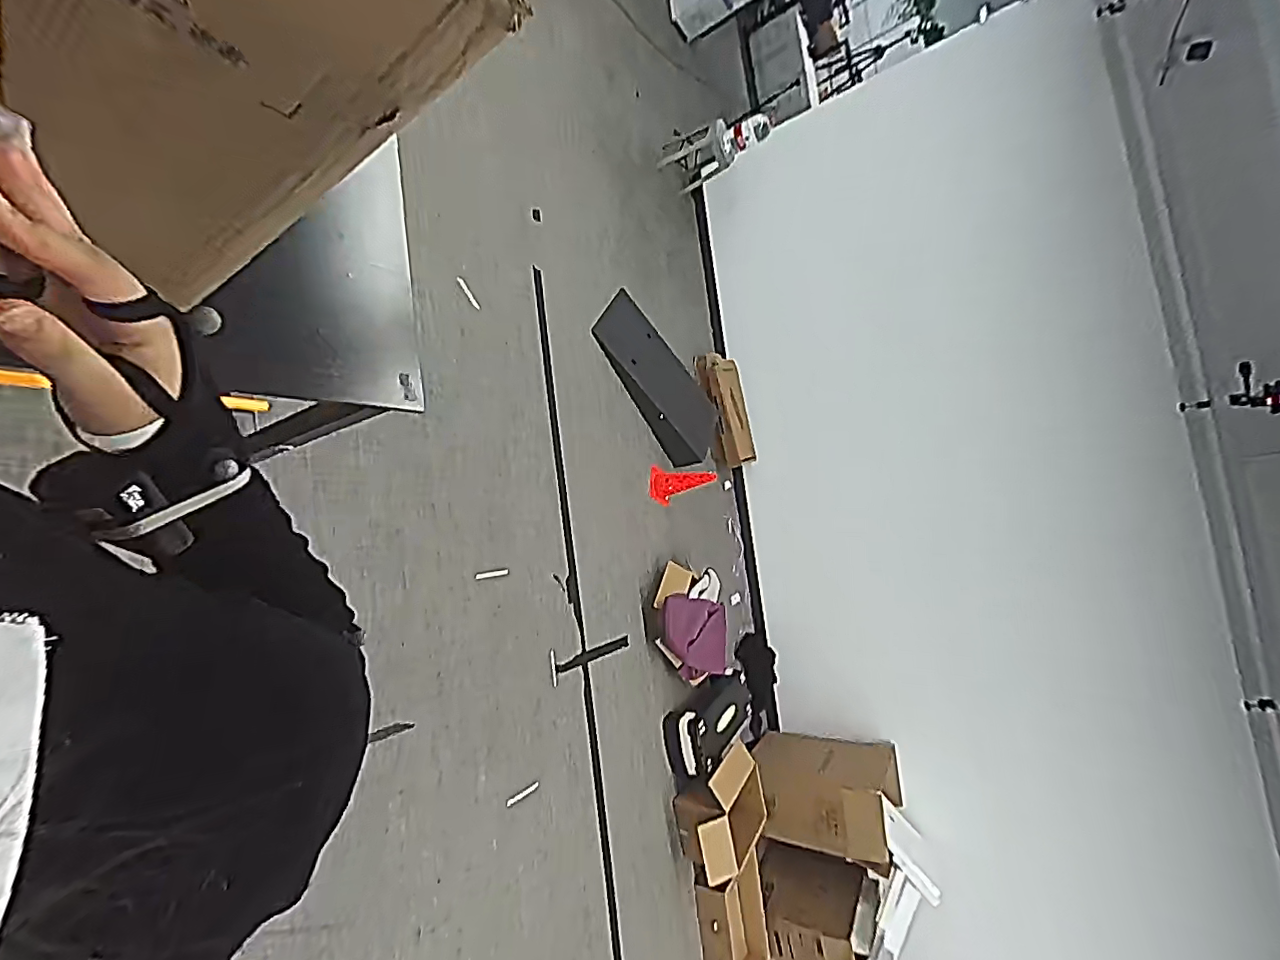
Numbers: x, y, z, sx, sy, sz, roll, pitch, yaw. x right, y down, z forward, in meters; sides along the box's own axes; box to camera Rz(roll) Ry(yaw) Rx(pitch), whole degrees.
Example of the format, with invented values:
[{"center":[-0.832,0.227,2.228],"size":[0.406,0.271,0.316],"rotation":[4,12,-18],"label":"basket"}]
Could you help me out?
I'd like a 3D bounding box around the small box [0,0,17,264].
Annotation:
[{"center":[-0.276,-0.137,0.120],"size":[0.168,0.176,0.179],"rotation":[3,123,-44],"label":"small box"}]
